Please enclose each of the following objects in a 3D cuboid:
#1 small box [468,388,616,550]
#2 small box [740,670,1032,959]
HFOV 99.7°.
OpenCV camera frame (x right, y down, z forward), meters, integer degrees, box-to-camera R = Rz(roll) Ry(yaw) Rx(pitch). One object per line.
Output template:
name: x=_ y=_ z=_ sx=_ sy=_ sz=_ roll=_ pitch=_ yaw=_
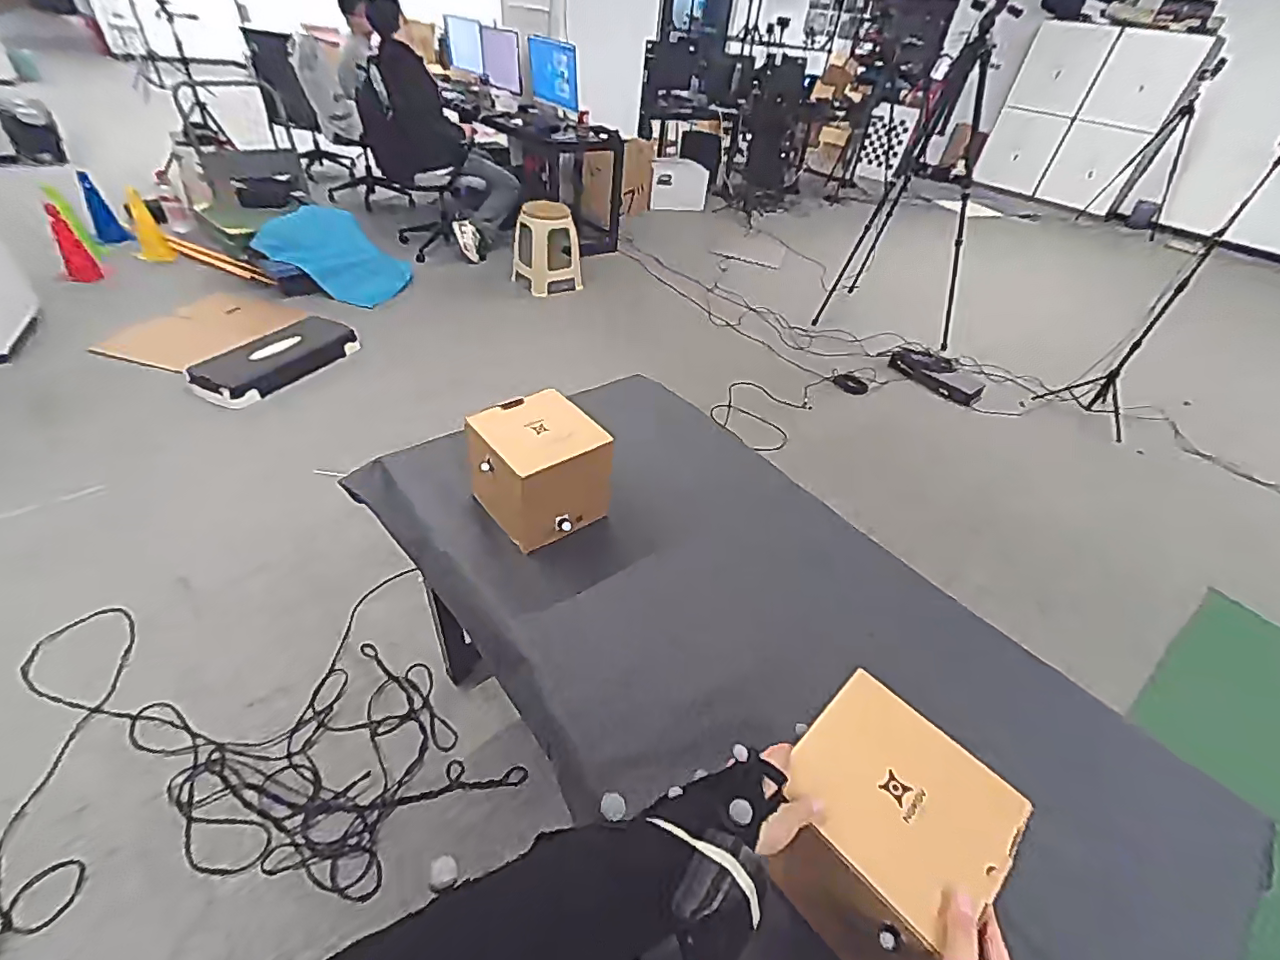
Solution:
small box: x=-0.161 y=-0.019 z=0.880 sx=0.168 sy=0.176 sz=0.179 roll=-26 pitch=52 yaw=-32
small box: x=0.222 y=0.333 z=0.528 sx=0.168 sy=0.176 sz=0.179 roll=-30 pitch=53 yaw=-33
